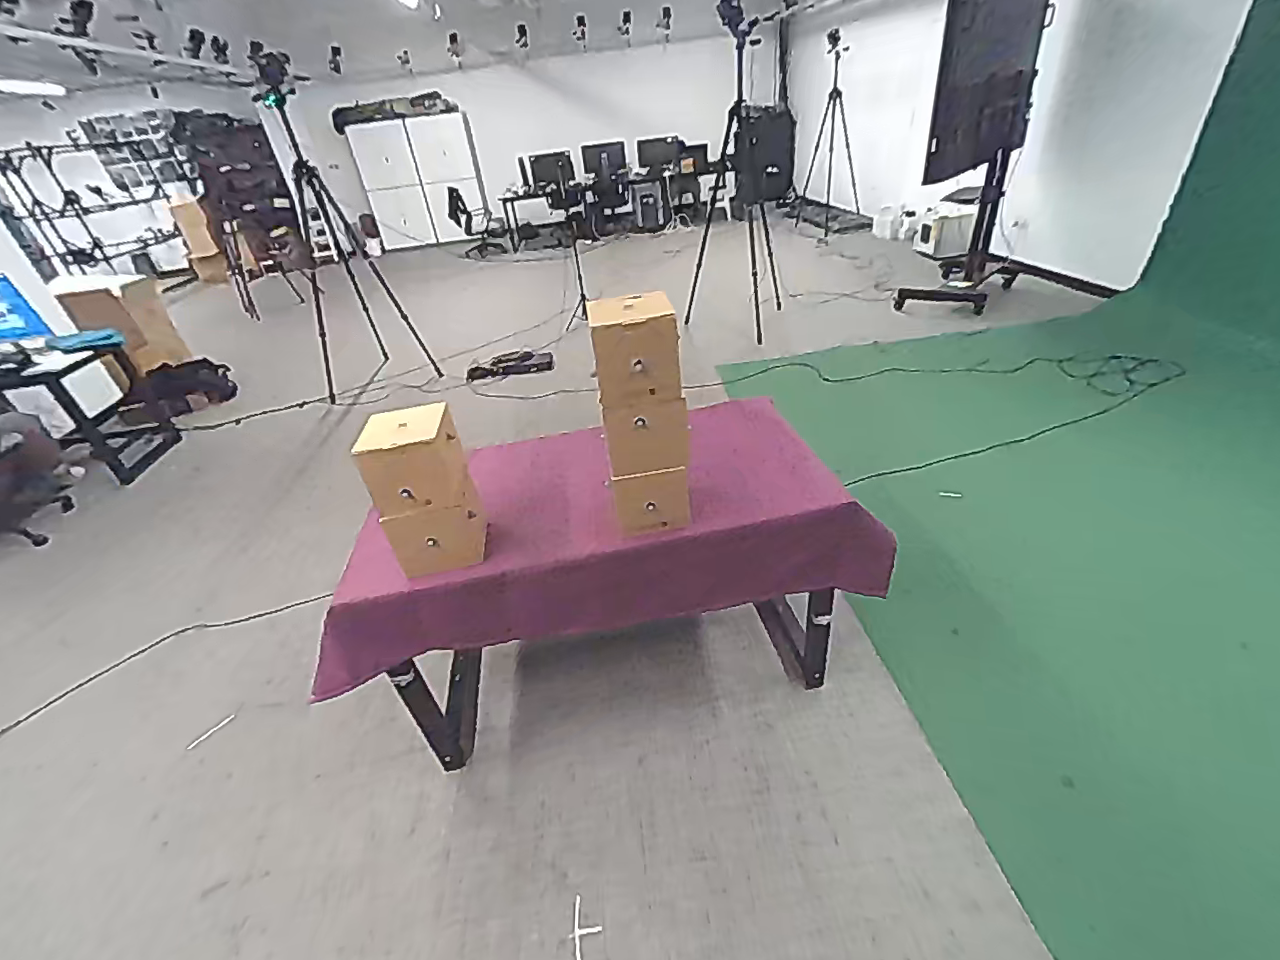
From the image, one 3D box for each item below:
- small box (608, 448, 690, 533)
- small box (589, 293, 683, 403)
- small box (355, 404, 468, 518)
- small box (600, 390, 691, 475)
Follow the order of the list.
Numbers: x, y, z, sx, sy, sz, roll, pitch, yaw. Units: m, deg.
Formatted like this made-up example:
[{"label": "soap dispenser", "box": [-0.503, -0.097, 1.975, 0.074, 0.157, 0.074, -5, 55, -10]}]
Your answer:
[{"label": "small box", "box": [0.021, 0.013, 1.284, 0.168, 0.176, 0.179, -8, 34, -2]}, {"label": "small box", "box": [-0.009, -0.265, 1.110, 0.168, 0.176, 0.179, -8, 35, -2]}, {"label": "small box", "box": [-0.478, -0.043, 1.165, 0.168, 0.176, 0.179, -11, 34, -5]}, {"label": "small box", "box": [0.011, -0.126, 1.195, 0.179, 0.176, 0.168, -8, 34, -2]}]
